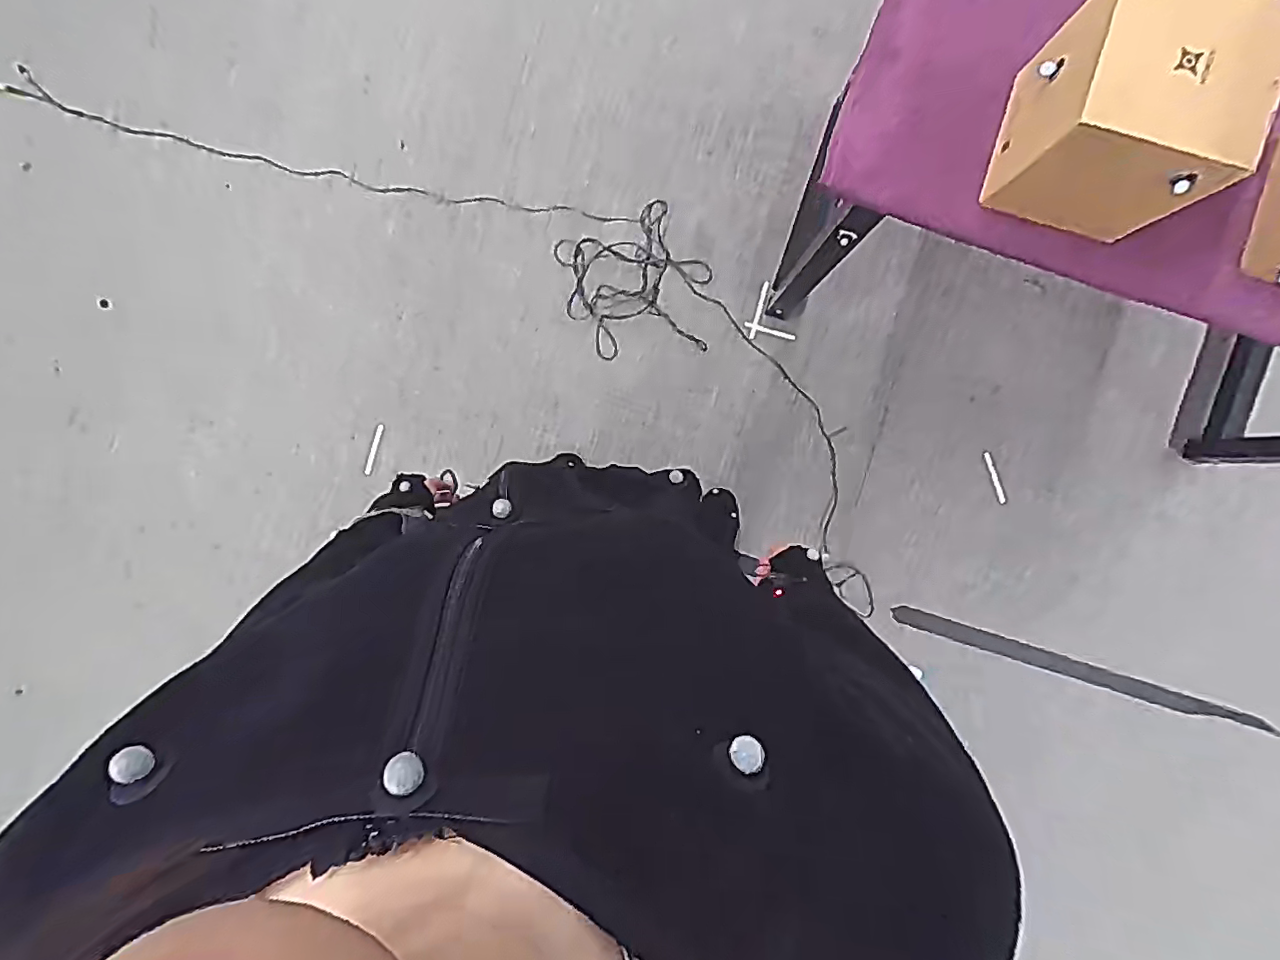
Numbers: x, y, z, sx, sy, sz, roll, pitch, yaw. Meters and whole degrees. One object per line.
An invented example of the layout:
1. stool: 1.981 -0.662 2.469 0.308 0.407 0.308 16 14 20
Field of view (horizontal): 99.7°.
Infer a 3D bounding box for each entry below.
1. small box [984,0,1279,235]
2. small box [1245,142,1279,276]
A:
1. small box: 0.523 -0.396 0.590 0.179 0.176 0.168 16 92 0
2. small box: 0.840 -0.318 0.589 0.168 0.176 0.179 15 92 0
